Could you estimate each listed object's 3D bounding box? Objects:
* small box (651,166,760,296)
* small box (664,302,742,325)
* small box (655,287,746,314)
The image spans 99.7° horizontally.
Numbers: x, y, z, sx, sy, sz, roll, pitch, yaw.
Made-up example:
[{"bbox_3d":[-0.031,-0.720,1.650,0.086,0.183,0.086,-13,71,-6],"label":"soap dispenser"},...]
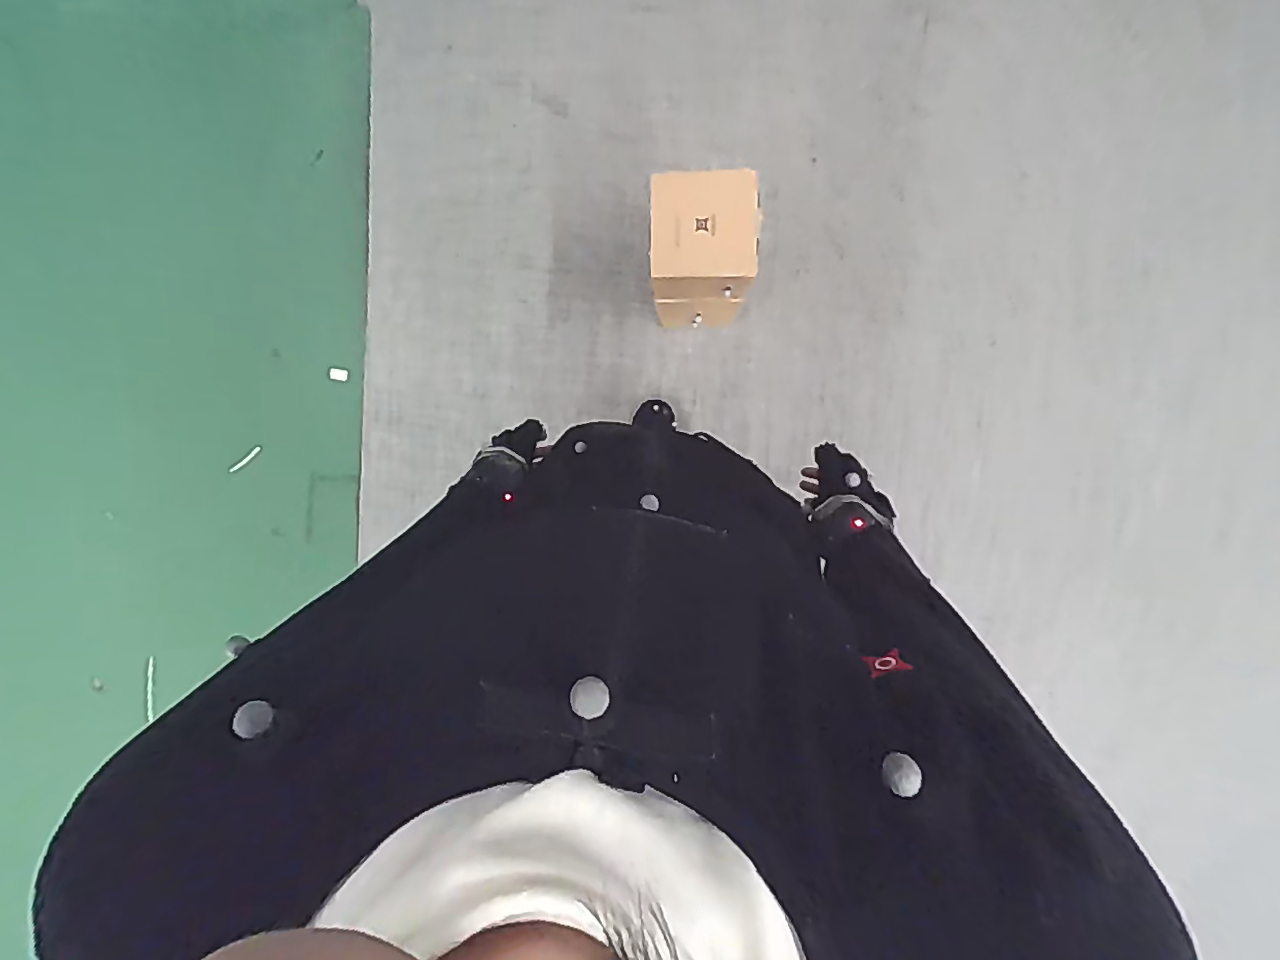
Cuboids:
[{"bbox_3d":[0.112,-0.428,0.952,0.179,0.176,0.168,0,96,6],"label":"small box"},{"bbox_3d":[0.140,-0.467,1.274,0.179,0.176,0.168,-4,97,5],"label":"small box"},{"bbox_3d":[0.124,-0.443,1.113,0.179,0.176,0.168,1,97,5],"label":"small box"}]
